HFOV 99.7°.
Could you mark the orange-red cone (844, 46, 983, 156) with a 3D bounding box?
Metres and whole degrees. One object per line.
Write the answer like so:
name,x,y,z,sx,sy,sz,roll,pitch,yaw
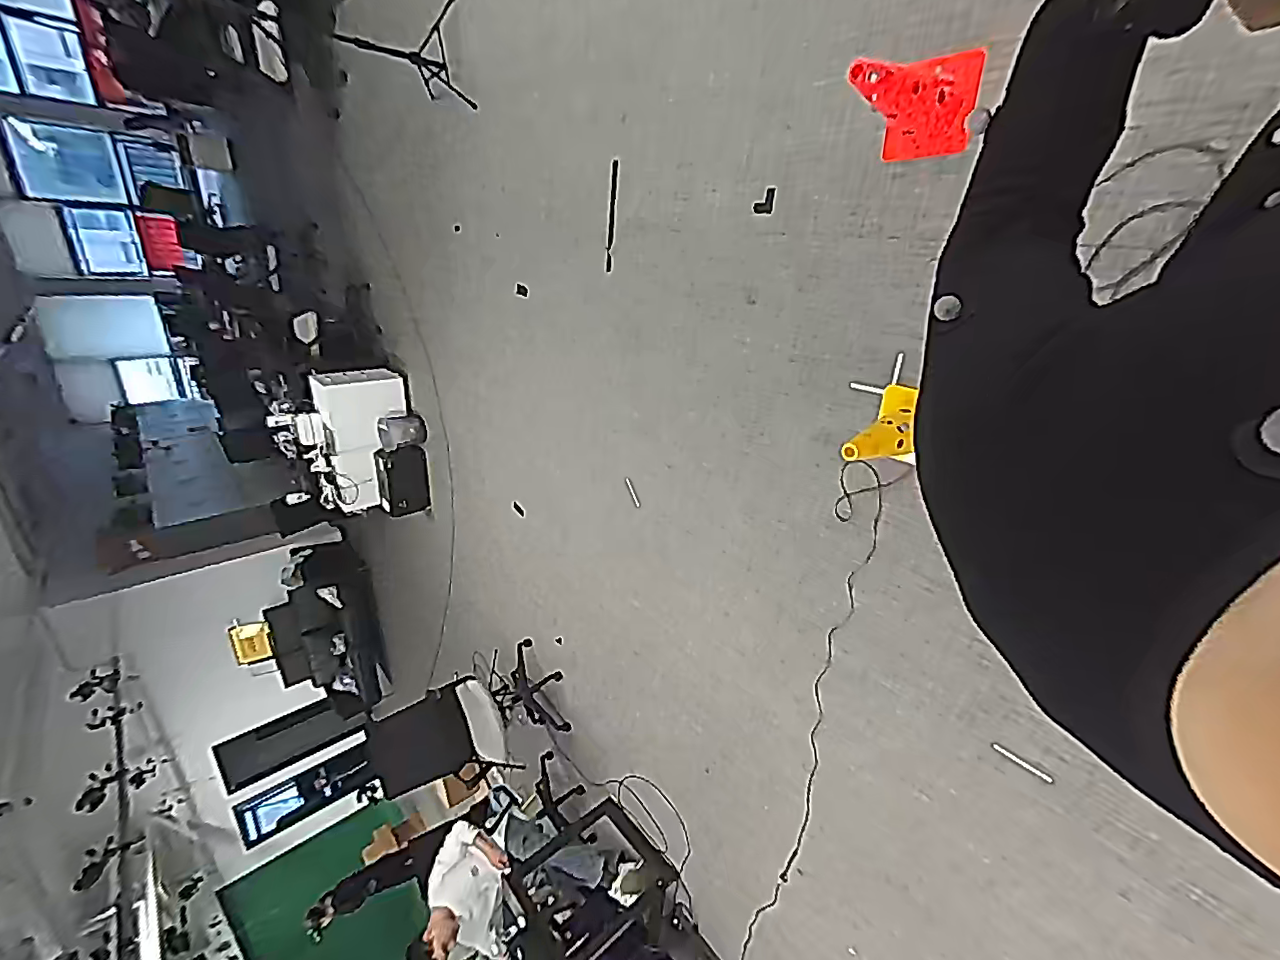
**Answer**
orange-red cone,0.543,-0.831,1.149,0.198,0.360,0.199,25,123,43
